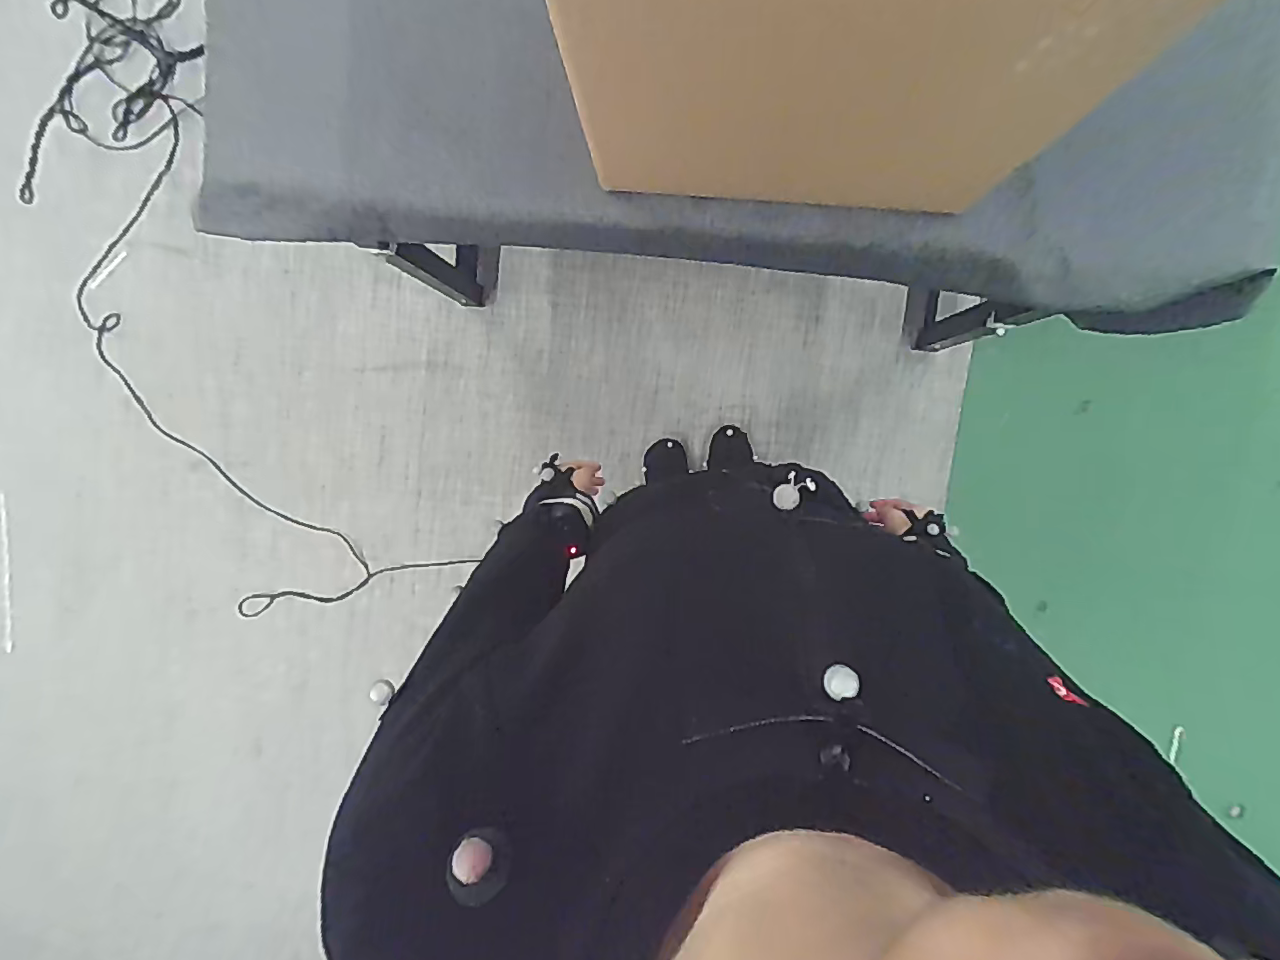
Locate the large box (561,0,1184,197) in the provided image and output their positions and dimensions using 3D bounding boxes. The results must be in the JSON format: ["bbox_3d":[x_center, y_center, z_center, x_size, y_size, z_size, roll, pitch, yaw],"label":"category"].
[{"bbox_3d":[0.155,-0.463,0.447,0.408,0.320,0.320,5,95,2],"label":"large box"}]
